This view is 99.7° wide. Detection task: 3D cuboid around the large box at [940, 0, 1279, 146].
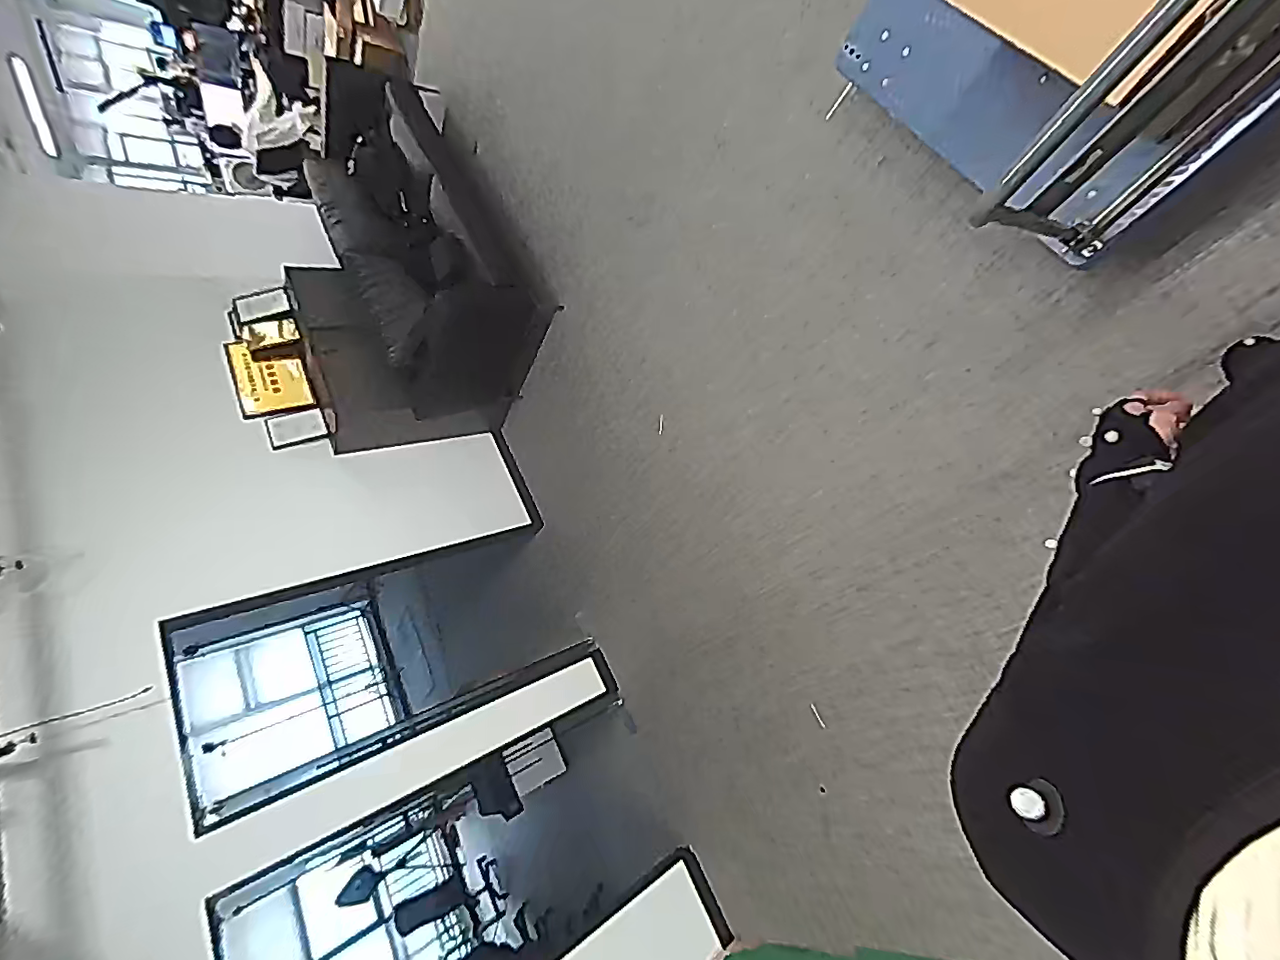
[{"bbox_3d":[0.831,-0.843,0.915,0.408,0.320,0.320,59,138,24],"label":"large box"}]
